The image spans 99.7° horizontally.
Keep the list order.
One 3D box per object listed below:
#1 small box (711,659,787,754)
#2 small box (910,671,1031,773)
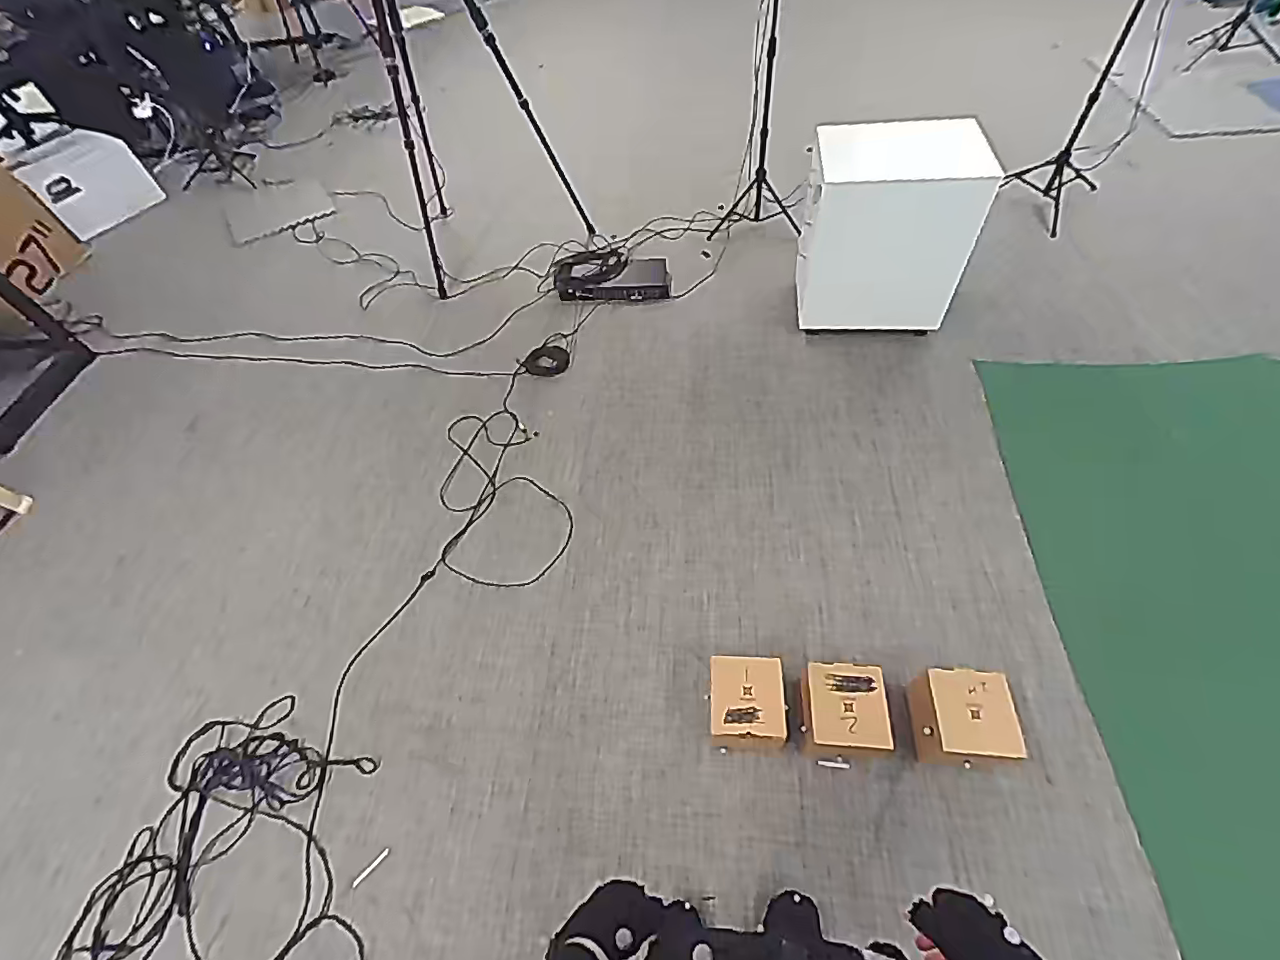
[{"bbox_3d":[0.255,0.540,1.282,0.168,0.176,0.179,0,53,8],"label":"small box"},{"bbox_3d":[0.731,0.549,1.218,0.168,0.176,0.179,2,54,7],"label":"small box"}]
